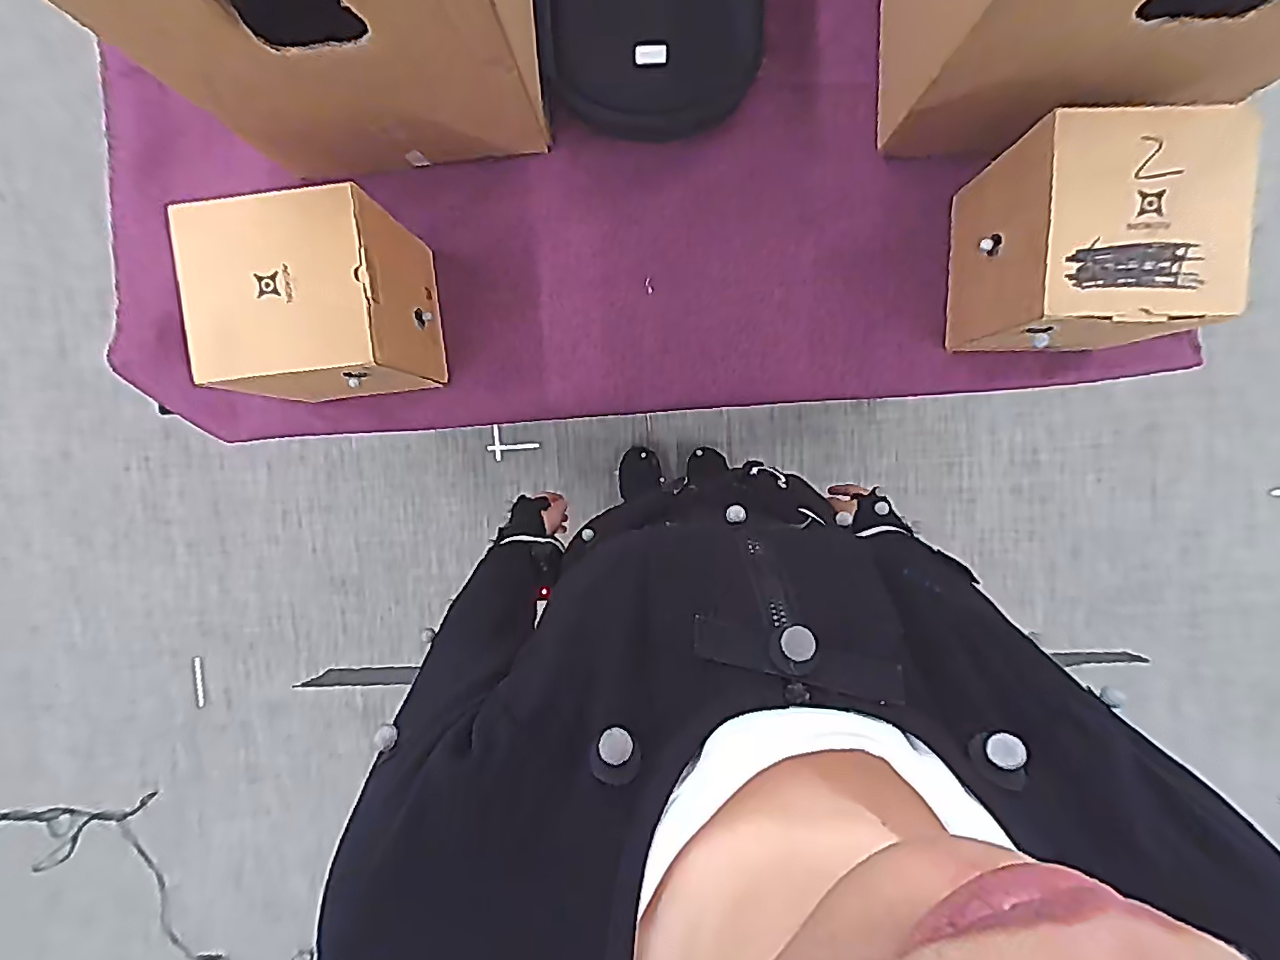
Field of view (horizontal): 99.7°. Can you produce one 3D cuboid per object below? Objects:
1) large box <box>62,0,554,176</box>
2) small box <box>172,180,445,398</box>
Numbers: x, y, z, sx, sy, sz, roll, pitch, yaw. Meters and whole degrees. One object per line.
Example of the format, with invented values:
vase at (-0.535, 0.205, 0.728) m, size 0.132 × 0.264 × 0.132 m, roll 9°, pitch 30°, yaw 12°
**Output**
large box at (-0.274, -0.557, 0.477) m, size 0.320 × 0.320 × 0.408 m, roll -5°, pitch 96°, yaw 3°
small box at (-0.332, -0.185, 0.575) m, size 0.179 × 0.176 × 0.168 m, roll -7°, pitch 93°, yaw 2°
